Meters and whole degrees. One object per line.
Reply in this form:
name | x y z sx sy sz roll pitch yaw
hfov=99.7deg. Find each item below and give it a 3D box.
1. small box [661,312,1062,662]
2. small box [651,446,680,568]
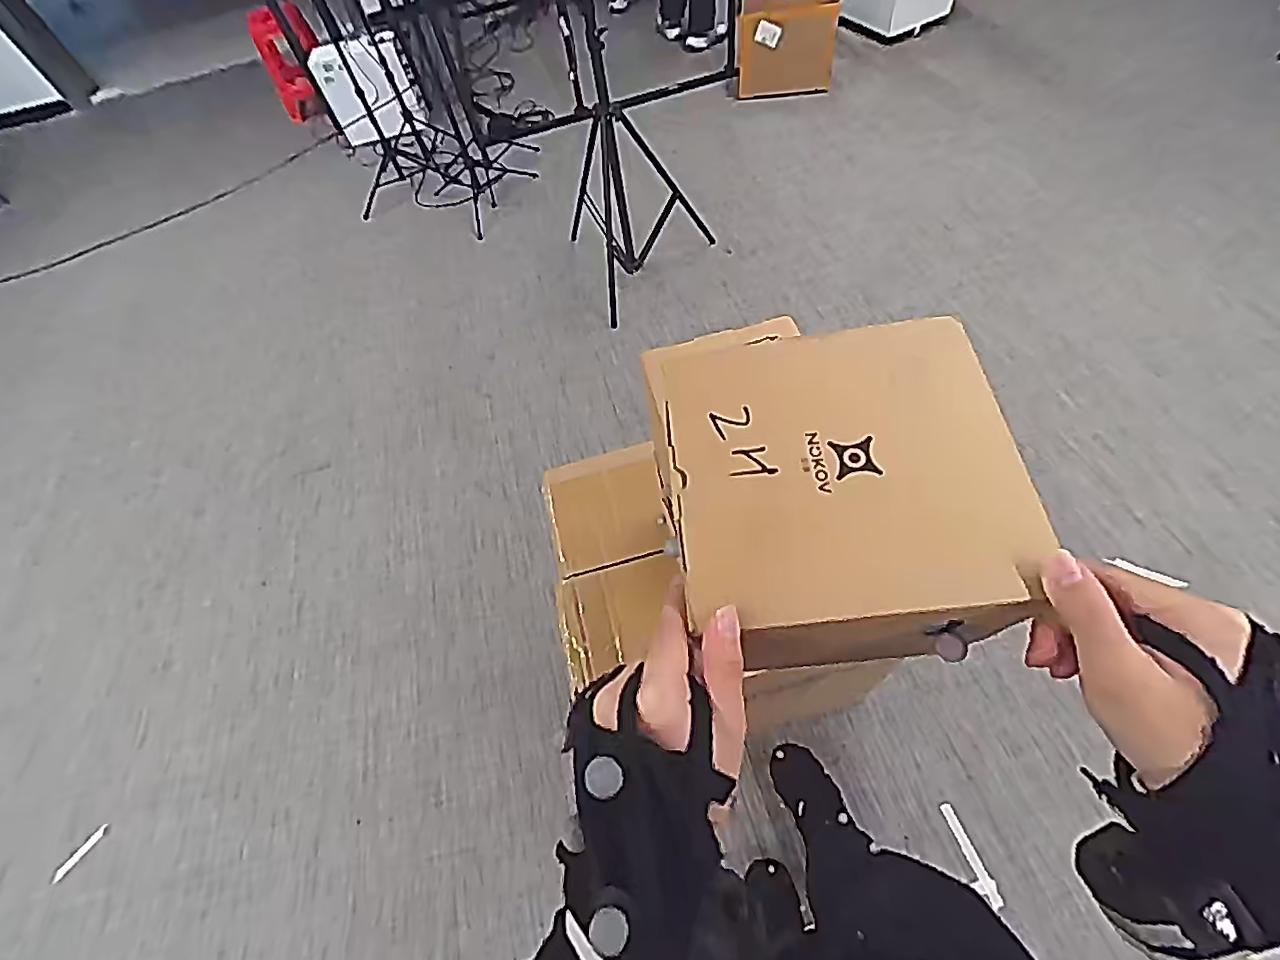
small box | 0.113 0.020 0.358 0.179 0.176 0.168 -8 63 6
small box | 0.125 0.049 0.730 0.179 0.176 0.168 -15 57 -1
